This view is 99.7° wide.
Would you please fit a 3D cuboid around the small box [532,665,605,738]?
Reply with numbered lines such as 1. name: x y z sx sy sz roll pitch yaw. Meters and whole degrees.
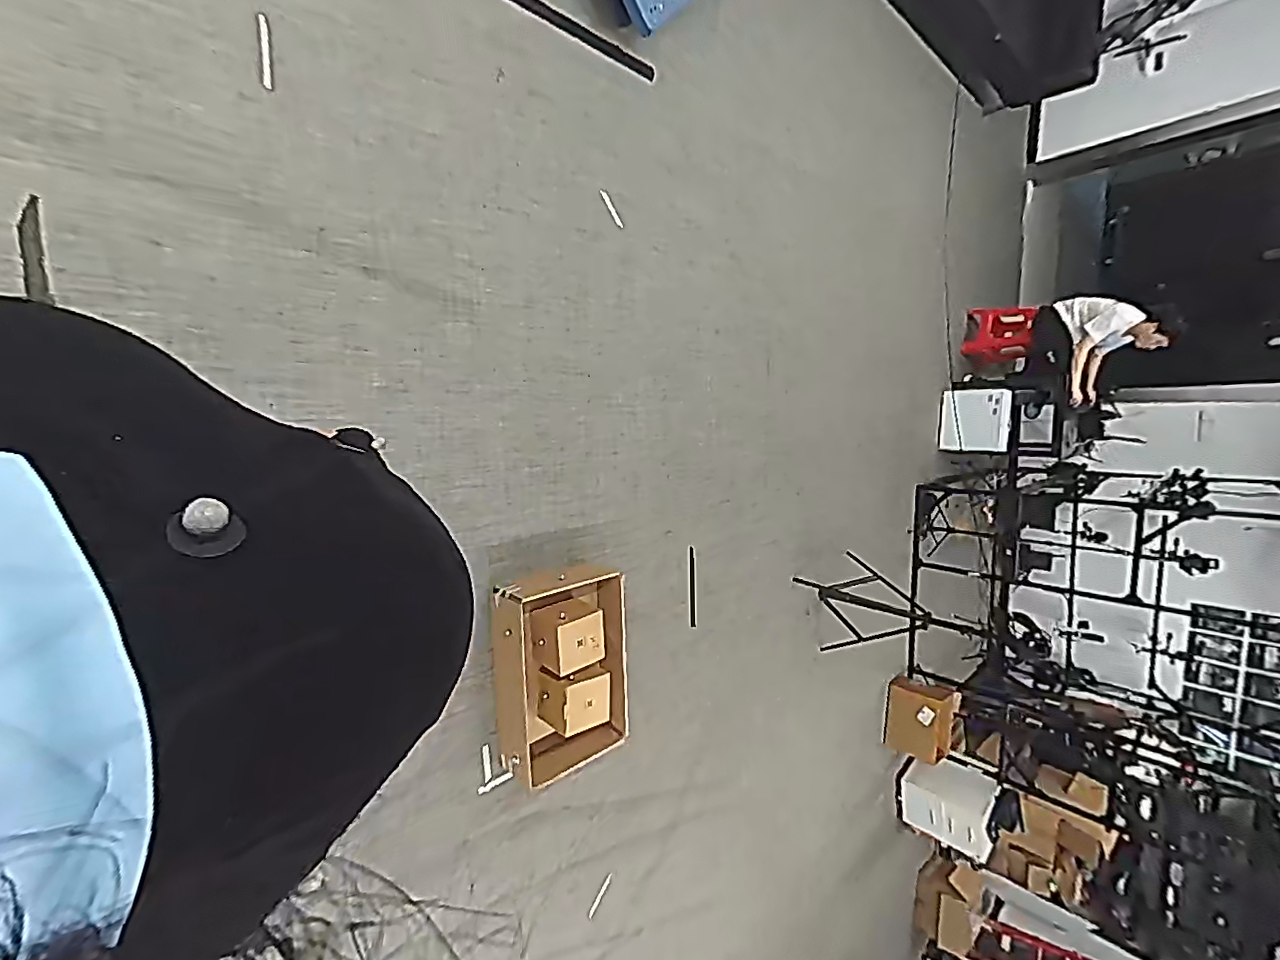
1. small box: -0.238 0.716 1.791 0.179 0.176 0.168 -1 94 -43

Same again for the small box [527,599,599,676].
1. small box: -0.255 0.503 1.749 0.179 0.176 0.168 -10 103 -42
